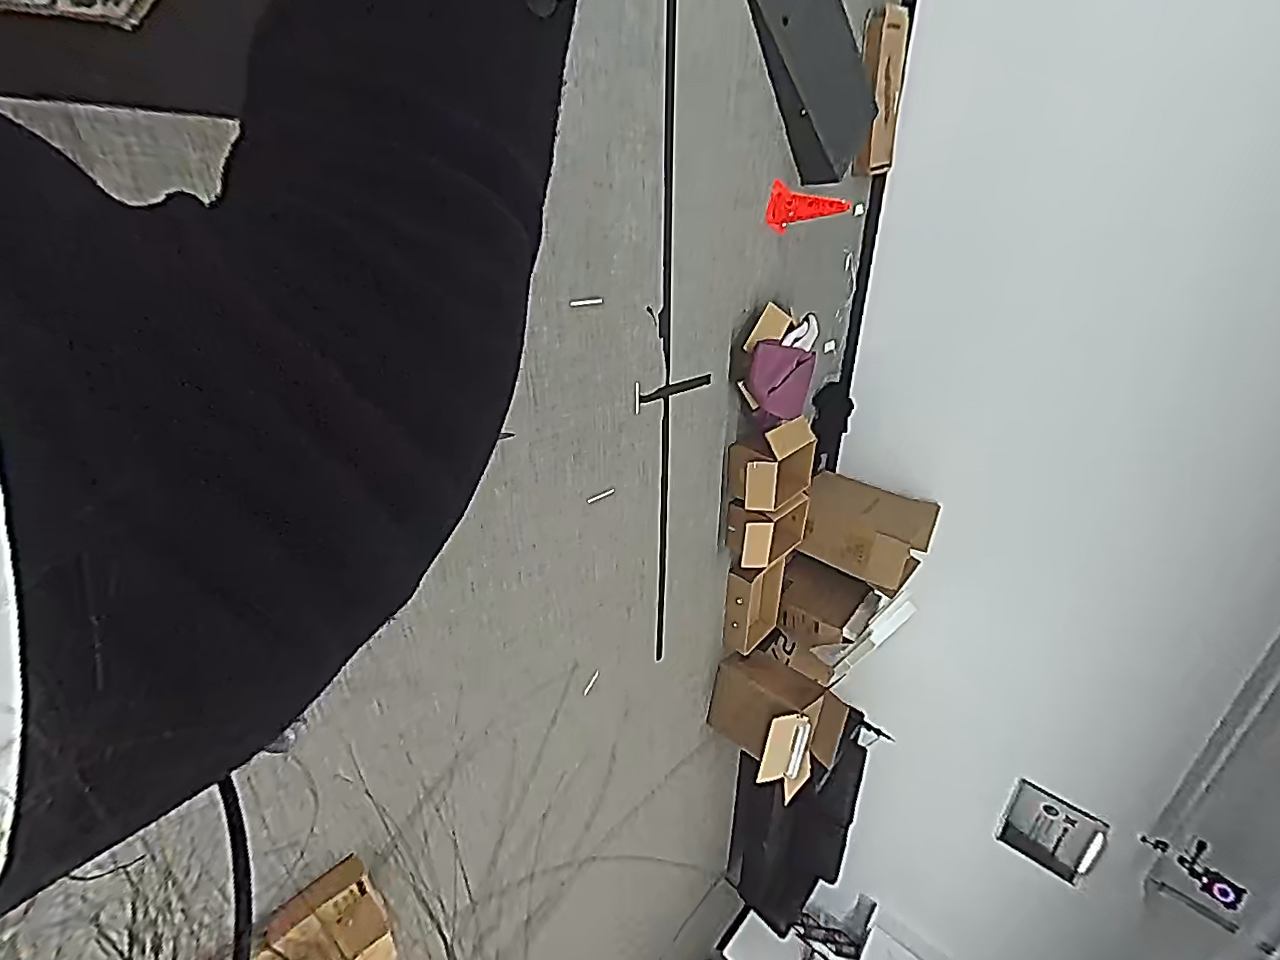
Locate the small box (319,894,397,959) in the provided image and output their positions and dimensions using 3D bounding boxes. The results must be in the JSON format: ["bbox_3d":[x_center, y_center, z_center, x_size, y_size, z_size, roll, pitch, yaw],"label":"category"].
[{"bbox_3d":[-0.943,1.549,1.808,0.168,0.176,0.179,-25,126,-41],"label":"small box"}]
